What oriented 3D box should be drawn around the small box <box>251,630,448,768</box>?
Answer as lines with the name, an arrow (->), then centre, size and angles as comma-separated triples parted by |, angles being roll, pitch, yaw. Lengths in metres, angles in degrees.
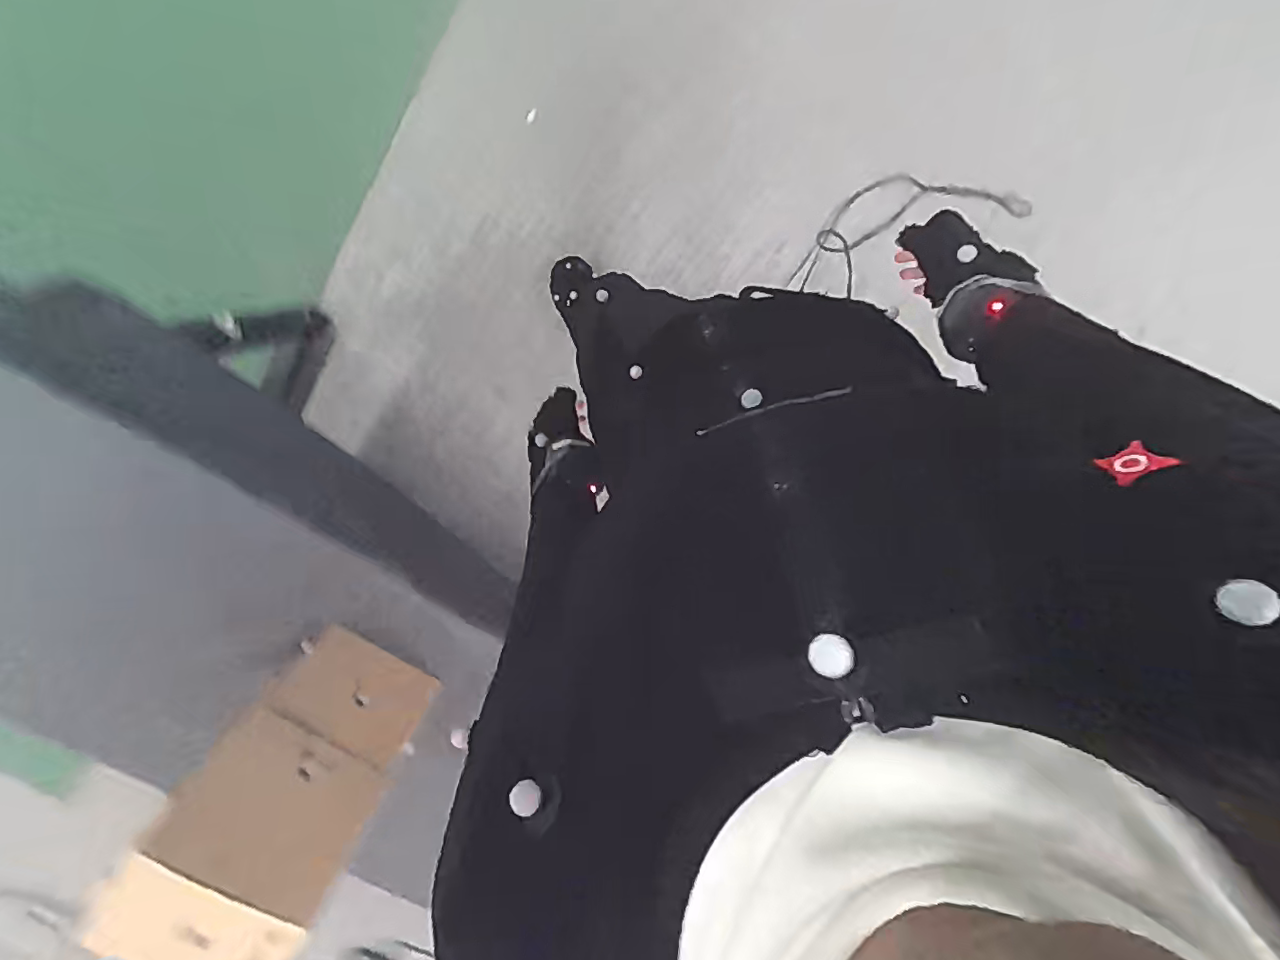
small box -> -0.402, 0.338, 0.751 | 0.179, 0.176, 0.168 | 31, 109, -8
